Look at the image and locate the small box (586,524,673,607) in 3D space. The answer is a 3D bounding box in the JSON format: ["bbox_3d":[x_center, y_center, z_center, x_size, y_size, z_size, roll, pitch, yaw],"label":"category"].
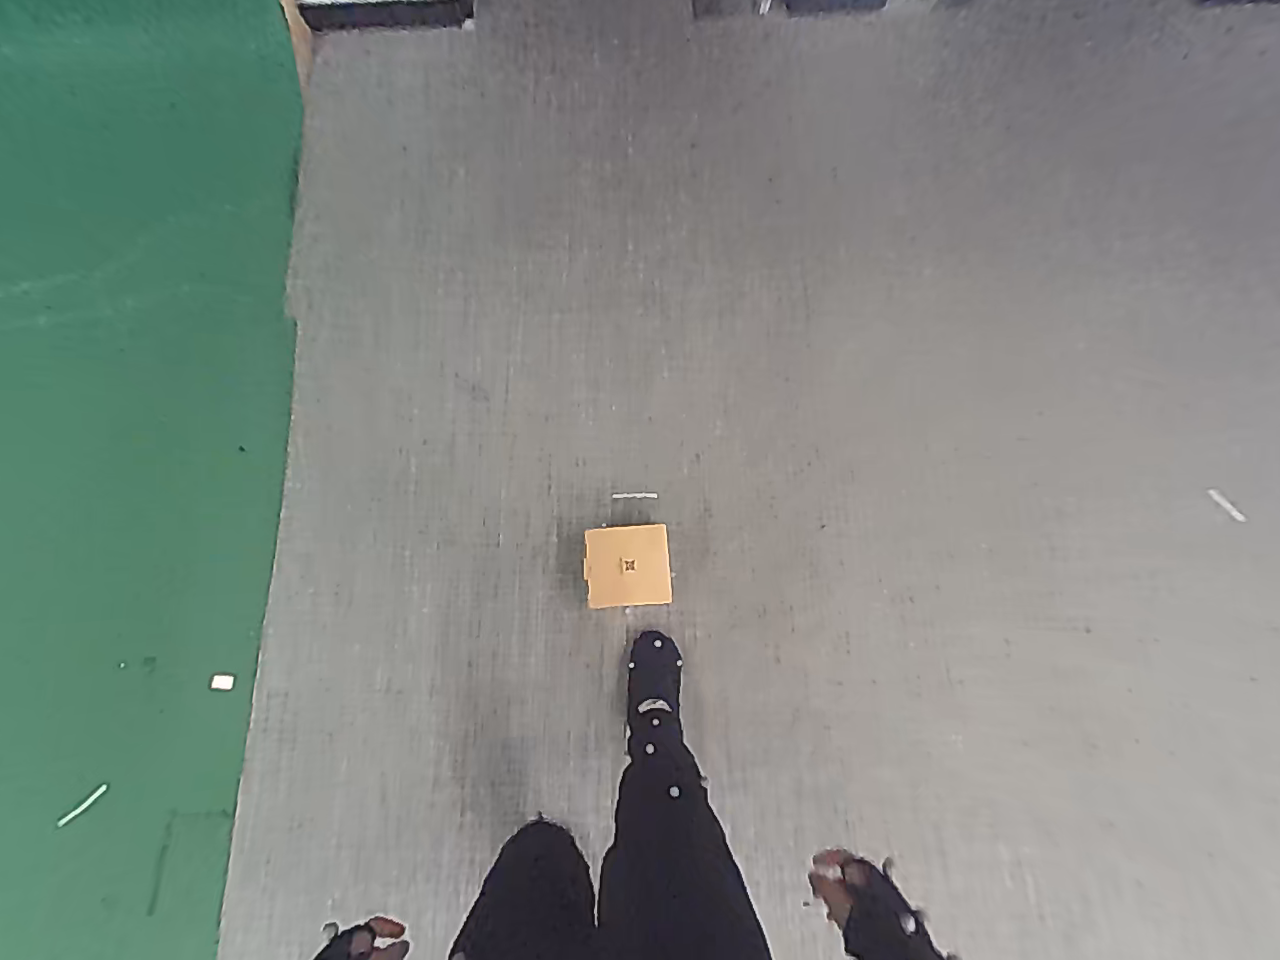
[{"bbox_3d":[-0.022,0.188,1.194,0.179,0.176,0.168,-4,80,1],"label":"small box"}]
